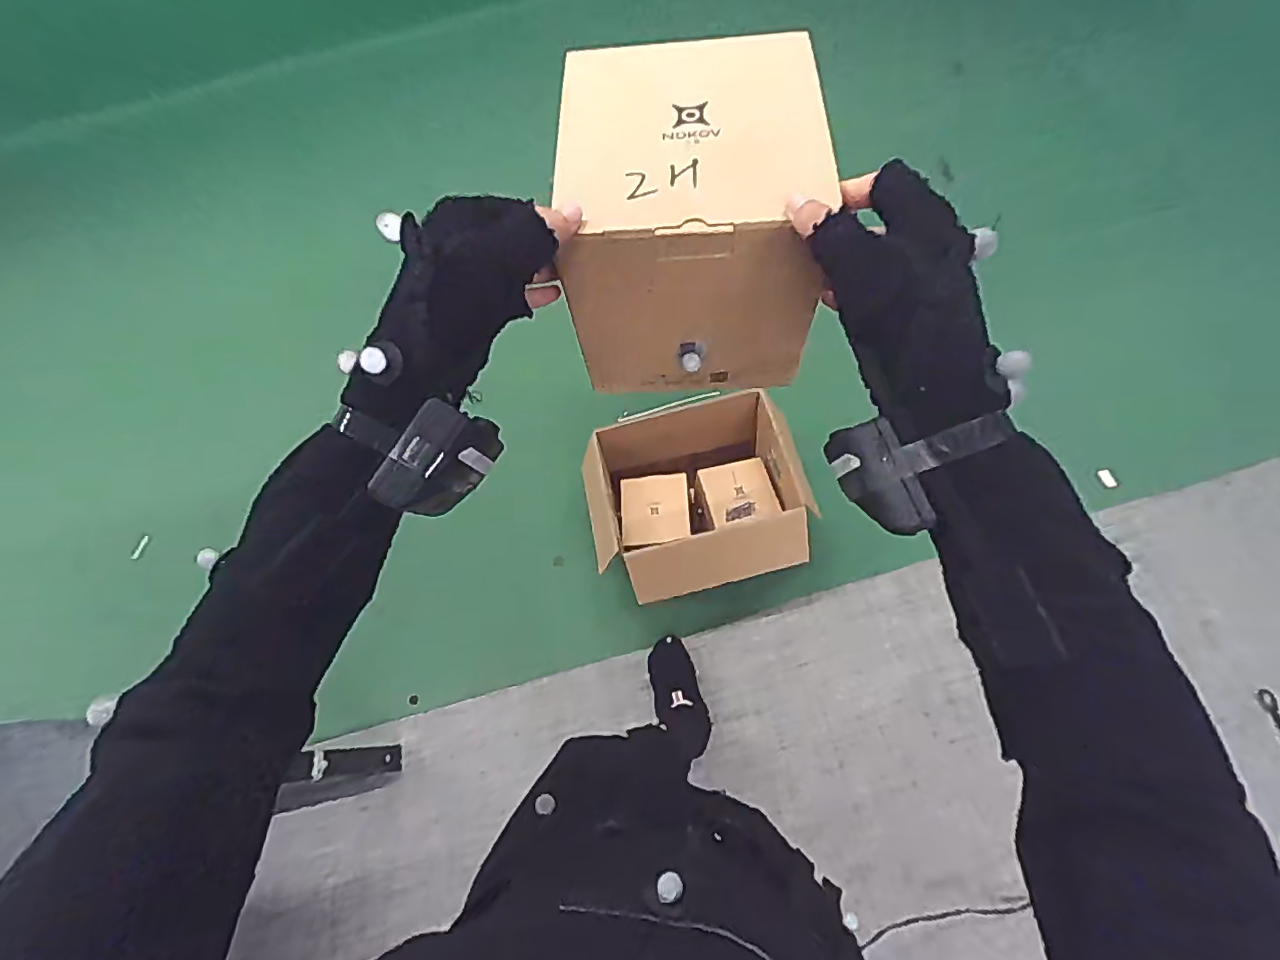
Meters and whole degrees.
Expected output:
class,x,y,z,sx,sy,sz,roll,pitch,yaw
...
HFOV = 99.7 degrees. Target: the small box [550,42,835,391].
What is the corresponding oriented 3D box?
class,x,y,z,sx,sy,sz,roll,pitch,yaw
small box,0.036,-0.187,0.414,0.168,0.176,0.179,-1,66,5
